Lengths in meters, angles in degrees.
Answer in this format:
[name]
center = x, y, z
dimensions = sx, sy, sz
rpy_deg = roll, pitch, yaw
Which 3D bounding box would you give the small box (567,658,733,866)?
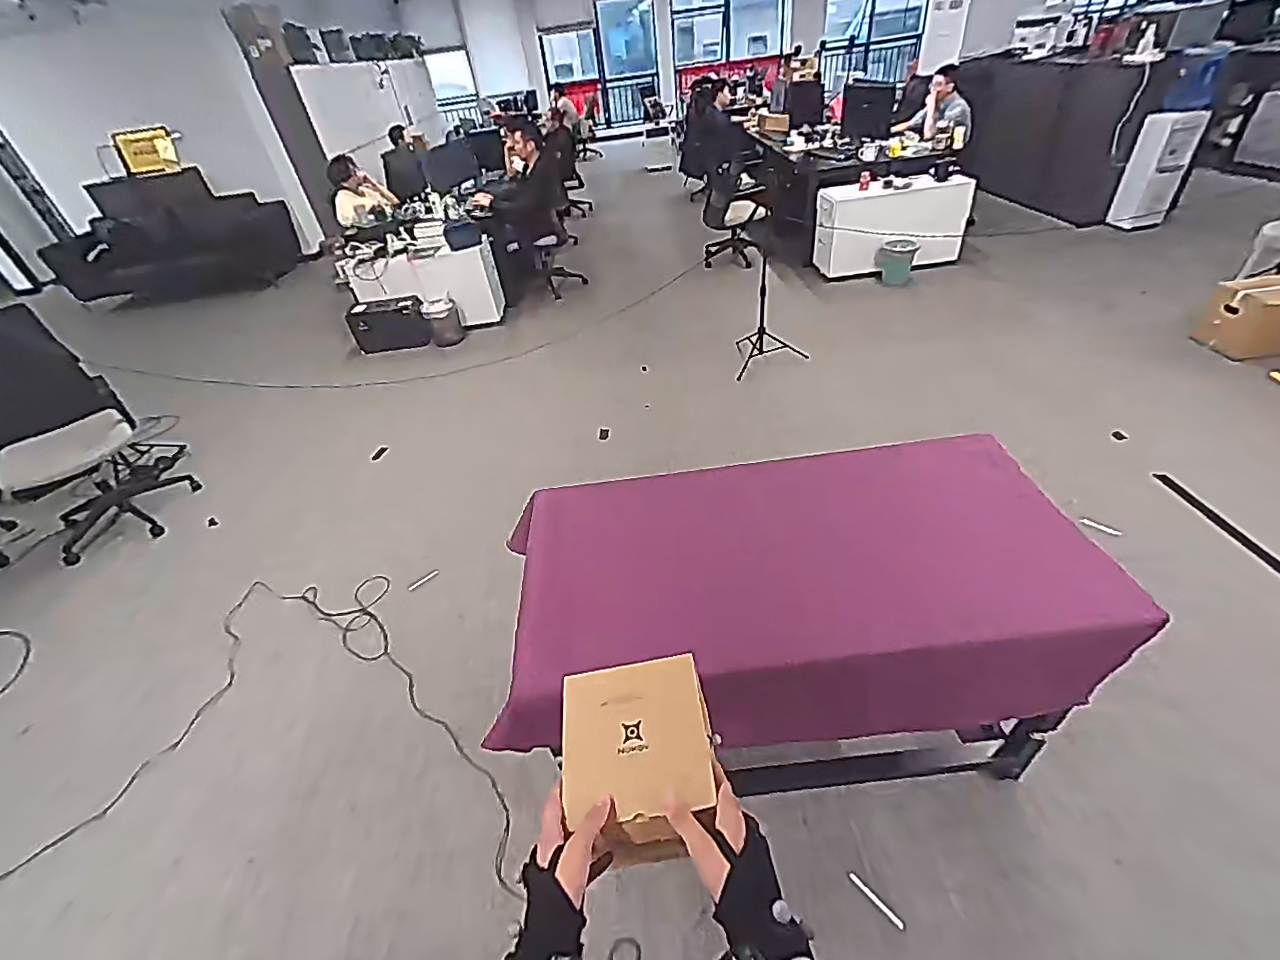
[small box]
center = 0.014, 0.347, 0.659
dimensions = 0.168, 0.176, 0.179
rpy_deg = -11, 42, 4
